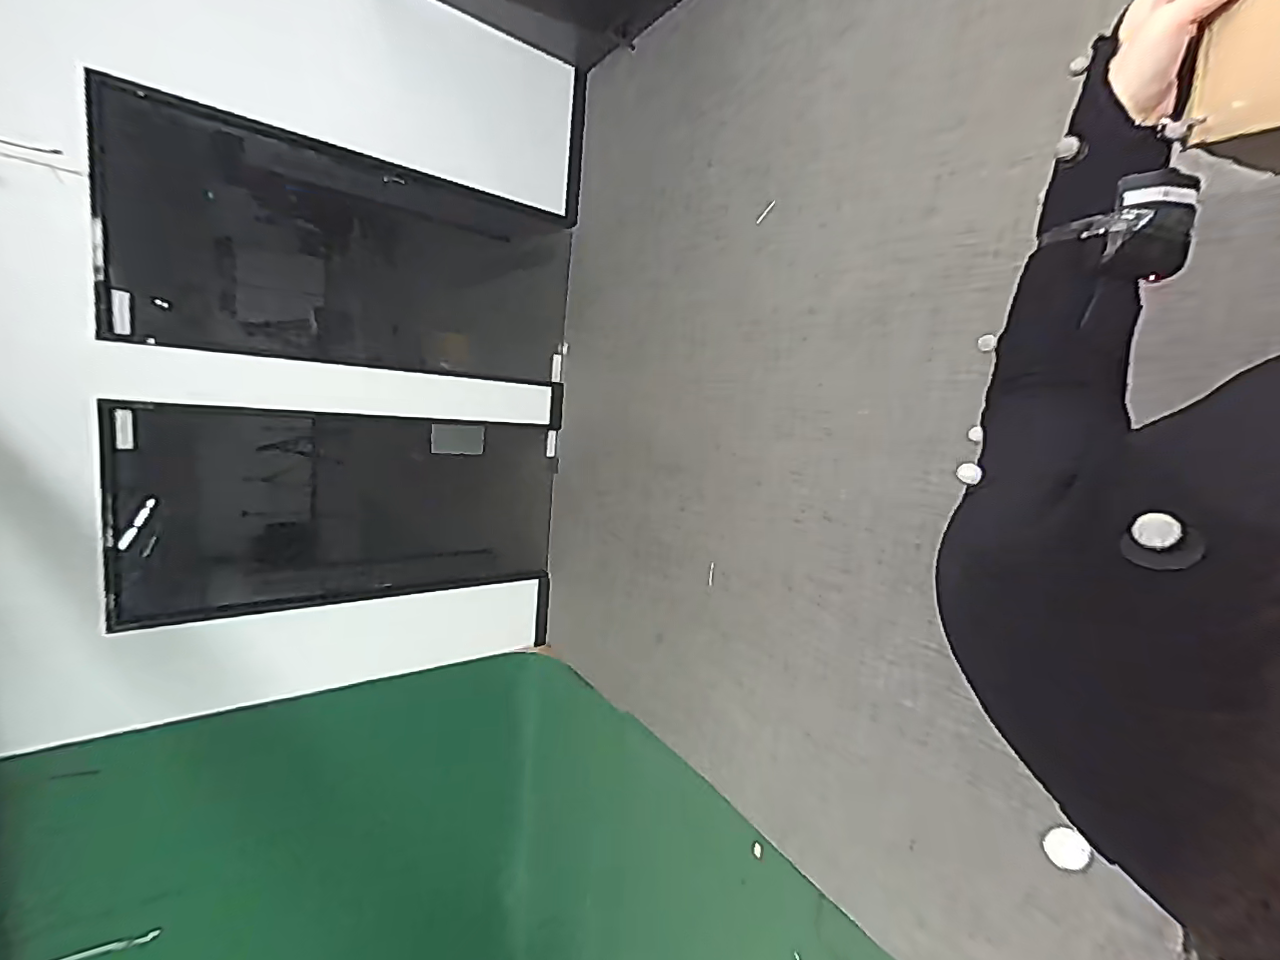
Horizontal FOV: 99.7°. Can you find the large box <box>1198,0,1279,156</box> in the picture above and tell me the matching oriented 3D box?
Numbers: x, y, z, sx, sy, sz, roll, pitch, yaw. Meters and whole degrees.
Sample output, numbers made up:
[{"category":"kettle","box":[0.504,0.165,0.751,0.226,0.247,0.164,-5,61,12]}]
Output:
[{"category":"large box","box":[0.619,-0.396,0.266,0.408,0.320,0.320,16,117,56]}]
